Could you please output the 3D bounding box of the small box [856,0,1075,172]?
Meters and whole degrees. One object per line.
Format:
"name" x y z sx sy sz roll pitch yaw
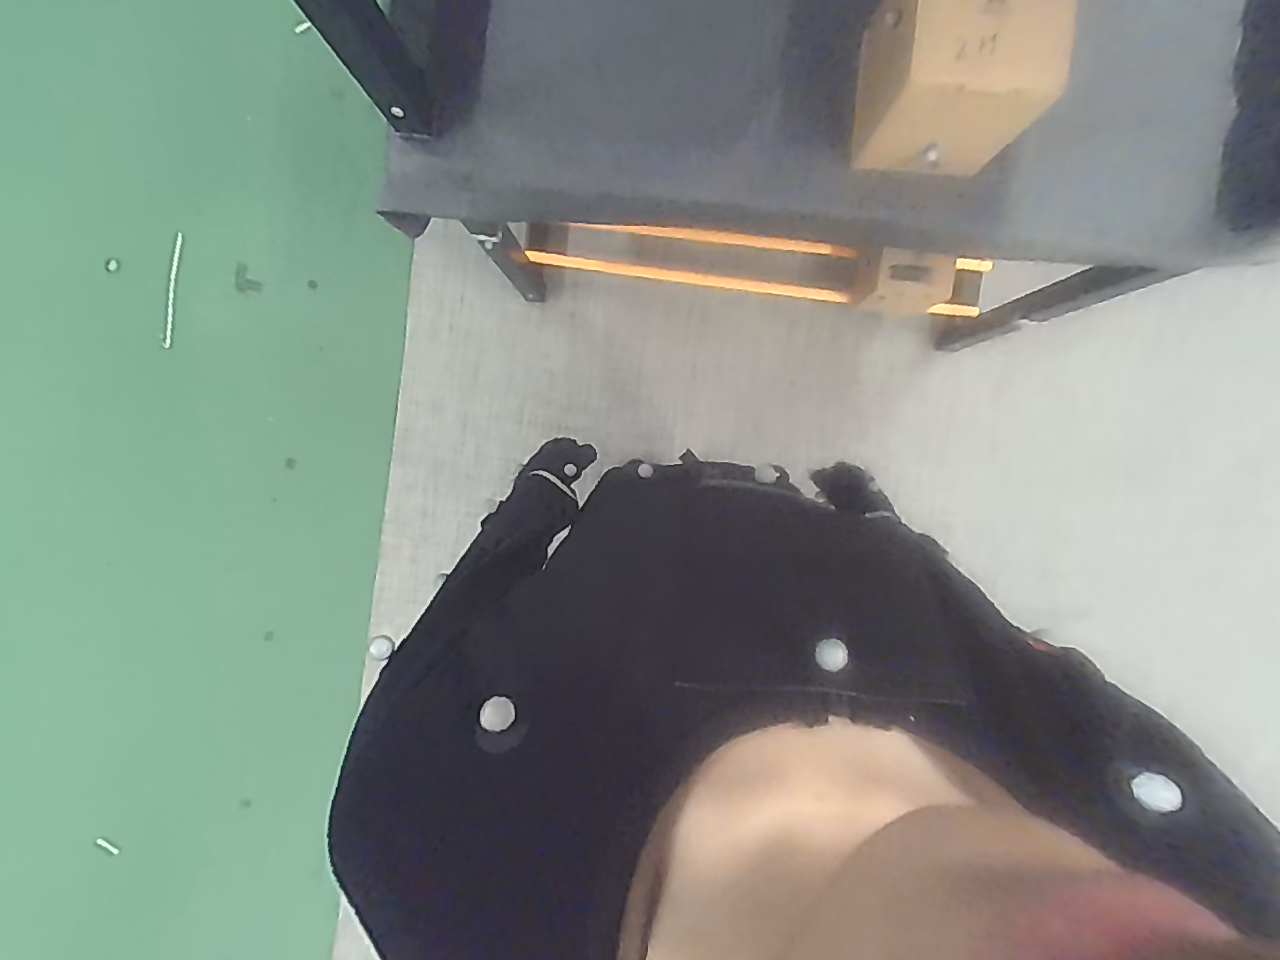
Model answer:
"small box" 0.375 -0.508 0.647 0.168 0.176 0.179 5 92 1
